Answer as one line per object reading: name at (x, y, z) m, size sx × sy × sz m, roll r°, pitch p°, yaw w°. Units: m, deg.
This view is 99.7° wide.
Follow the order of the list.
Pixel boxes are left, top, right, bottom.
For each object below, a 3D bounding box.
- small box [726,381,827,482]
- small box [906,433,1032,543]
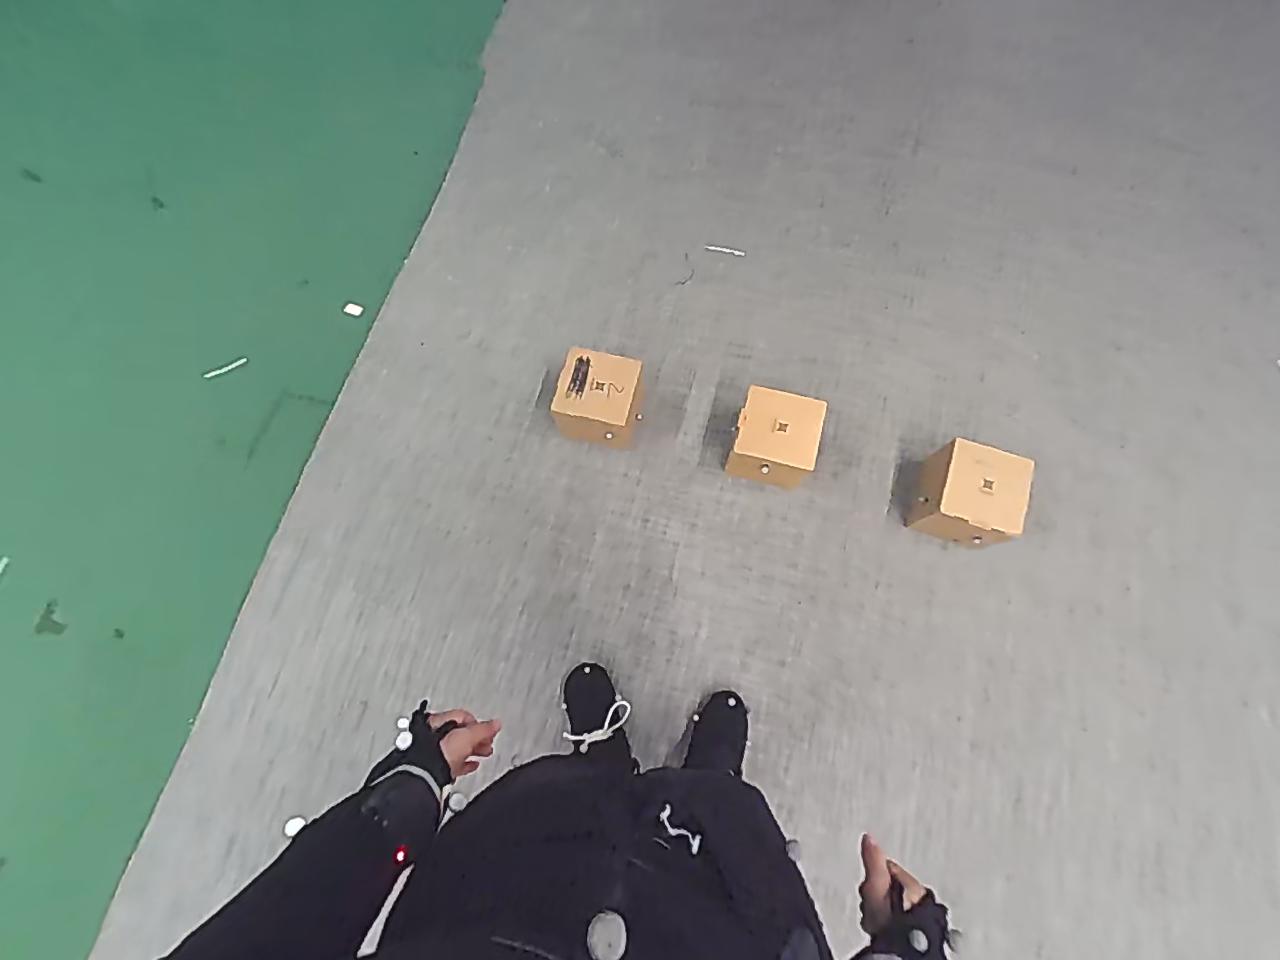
small box at (0.307, -0.103, 1.245) m, size 0.179 × 0.176 × 0.168 m, roll 14°, pitch 76°, yaw 7°
small box at (0.714, 0.026, 1.191) m, size 0.168 × 0.176 × 0.179 m, roll 19°, pitch 75°, yaw 6°
